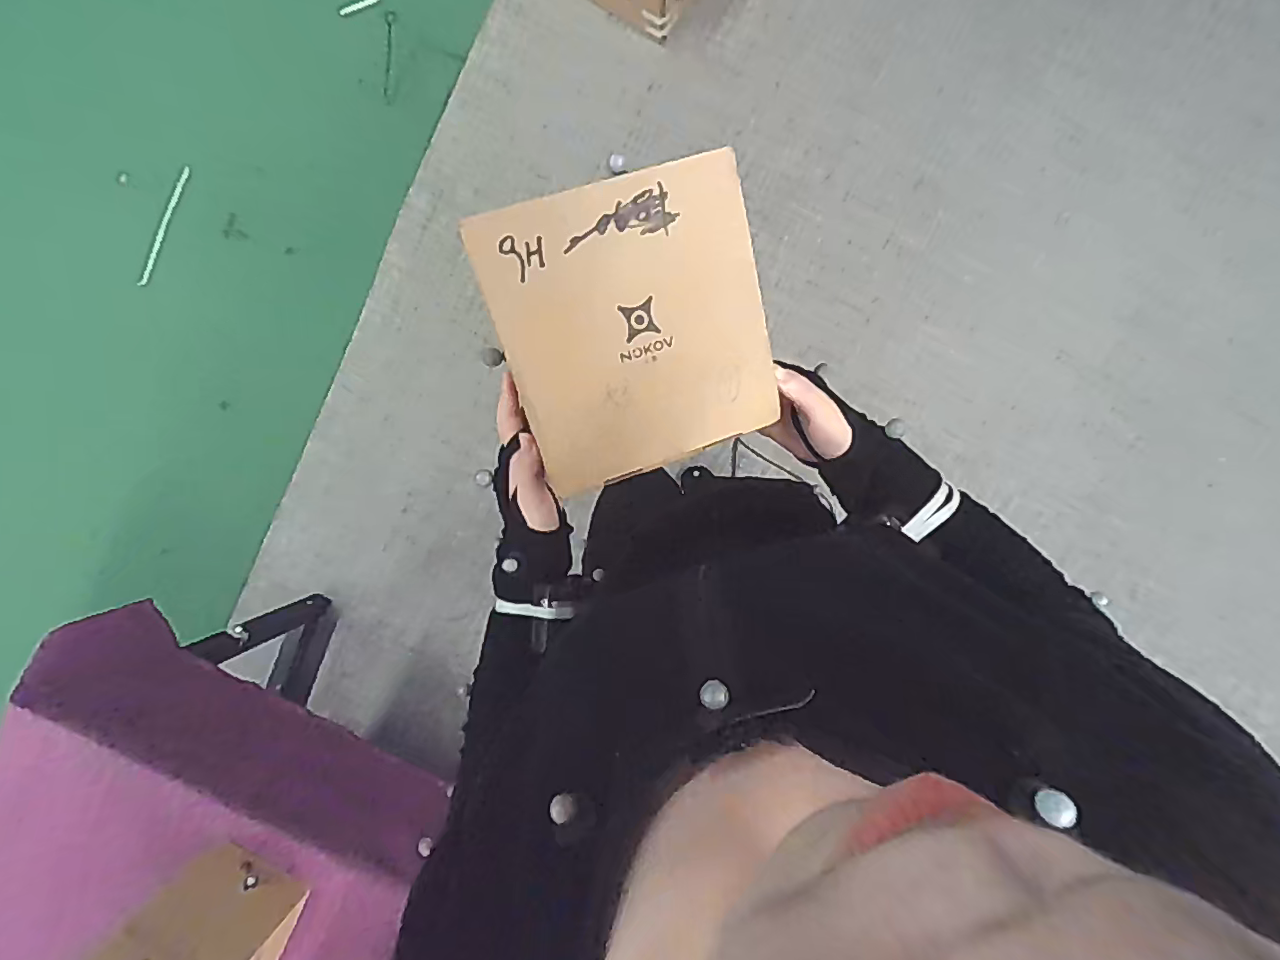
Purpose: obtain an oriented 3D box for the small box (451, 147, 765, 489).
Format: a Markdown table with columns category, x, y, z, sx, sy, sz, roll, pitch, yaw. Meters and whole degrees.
| category | x | y | z | sx | sy | sz | roll | pitch | yaw |
| --- | --- | --- | --- | --- | --- | --- | --- | --- | --- |
| small box | -0.027 | -0.121 | 0.409 | 0.168 | 0.176 | 0.179 | -19 | 113 | -9 |
